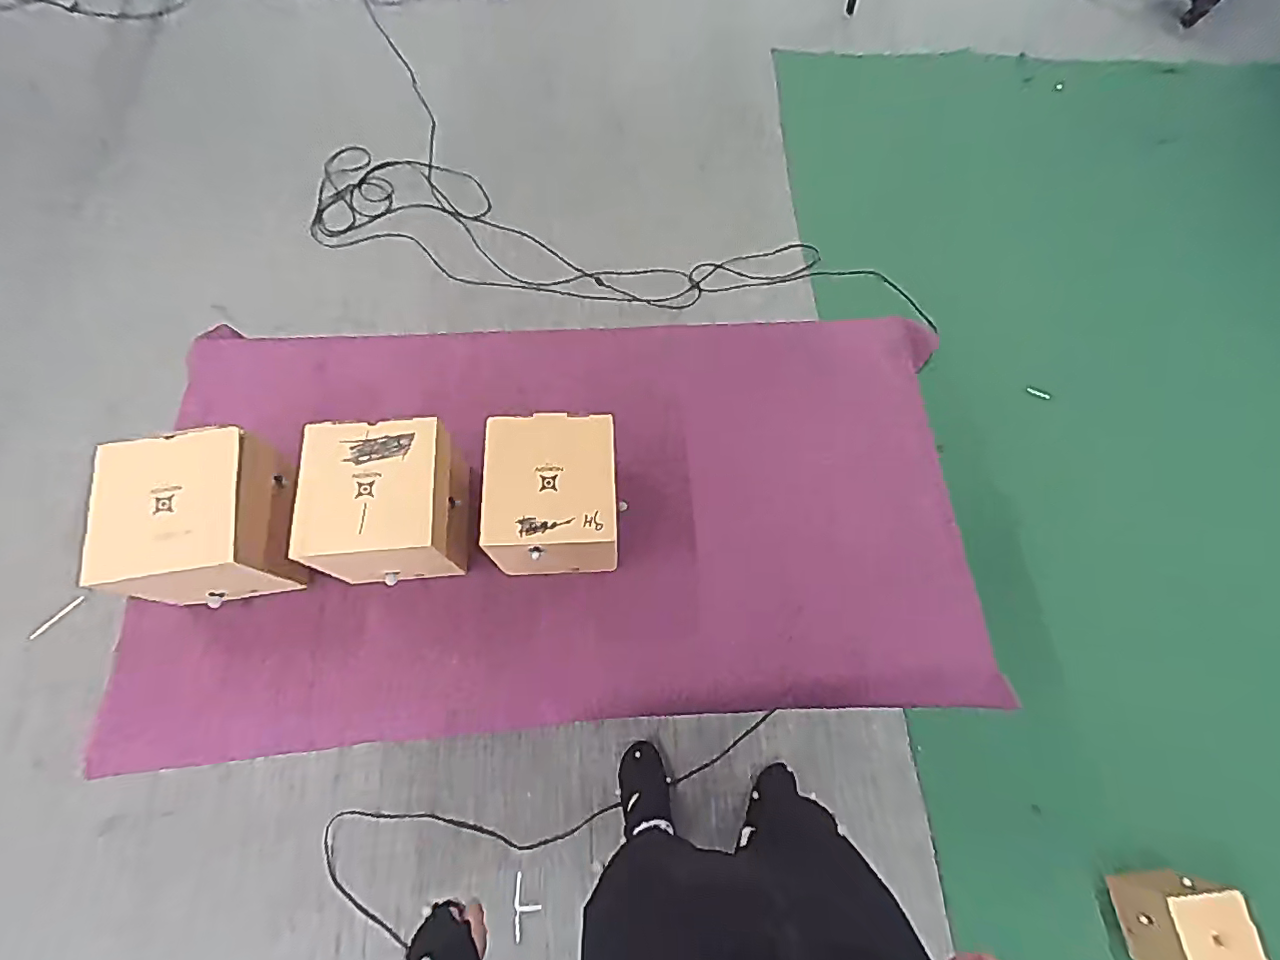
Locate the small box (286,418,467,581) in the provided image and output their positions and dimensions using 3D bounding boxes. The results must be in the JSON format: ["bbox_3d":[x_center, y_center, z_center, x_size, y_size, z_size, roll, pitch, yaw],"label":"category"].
[{"bbox_3d":[-0.342,0.033,0.740,0.168,0.176,0.179,-4,70,-3],"label":"small box"}]

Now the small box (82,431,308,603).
[{"bbox_3d":[-0.568,0.056,0.723,0.168,0.176,0.179,-8,70,-5],"label":"small box"}]

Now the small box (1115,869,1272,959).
[{"bbox_3d":[1.214,0.990,1.199,0.179,0.176,0.168,-3,69,-4],"label":"small box"}]
